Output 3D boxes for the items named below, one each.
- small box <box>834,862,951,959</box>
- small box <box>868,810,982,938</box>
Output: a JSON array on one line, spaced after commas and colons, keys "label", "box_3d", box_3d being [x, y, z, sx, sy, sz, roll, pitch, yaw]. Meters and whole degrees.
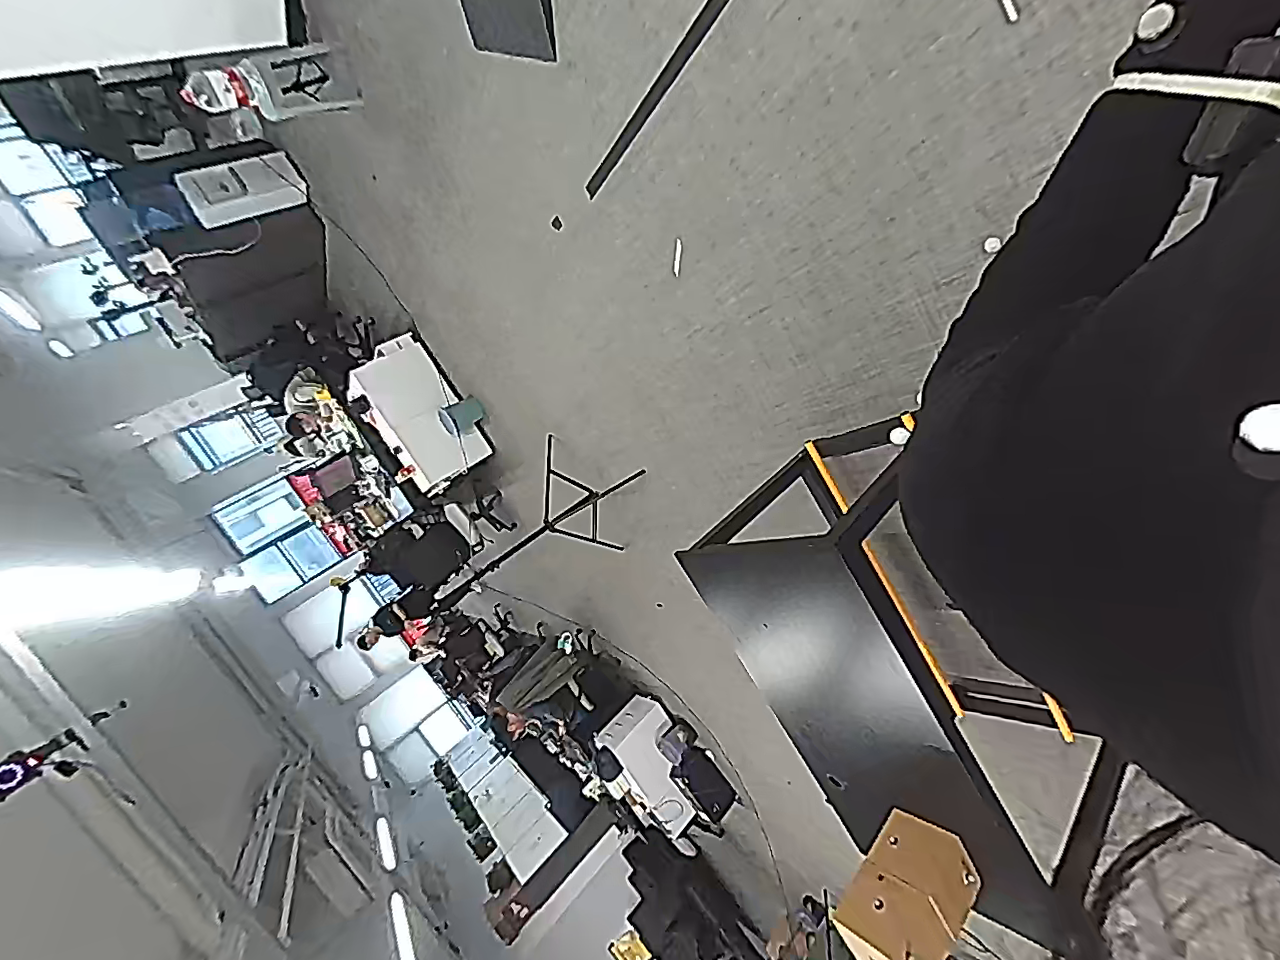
[{"label": "small box", "box_3d": [0.612, 1.082, 1.307, 0.179, 0.176, 0.168, 59, 151, -12]}, {"label": "small box", "box_3d": [0.729, 0.990, 1.380, 0.179, 0.176, 0.168, -12, 112, 58]}]
